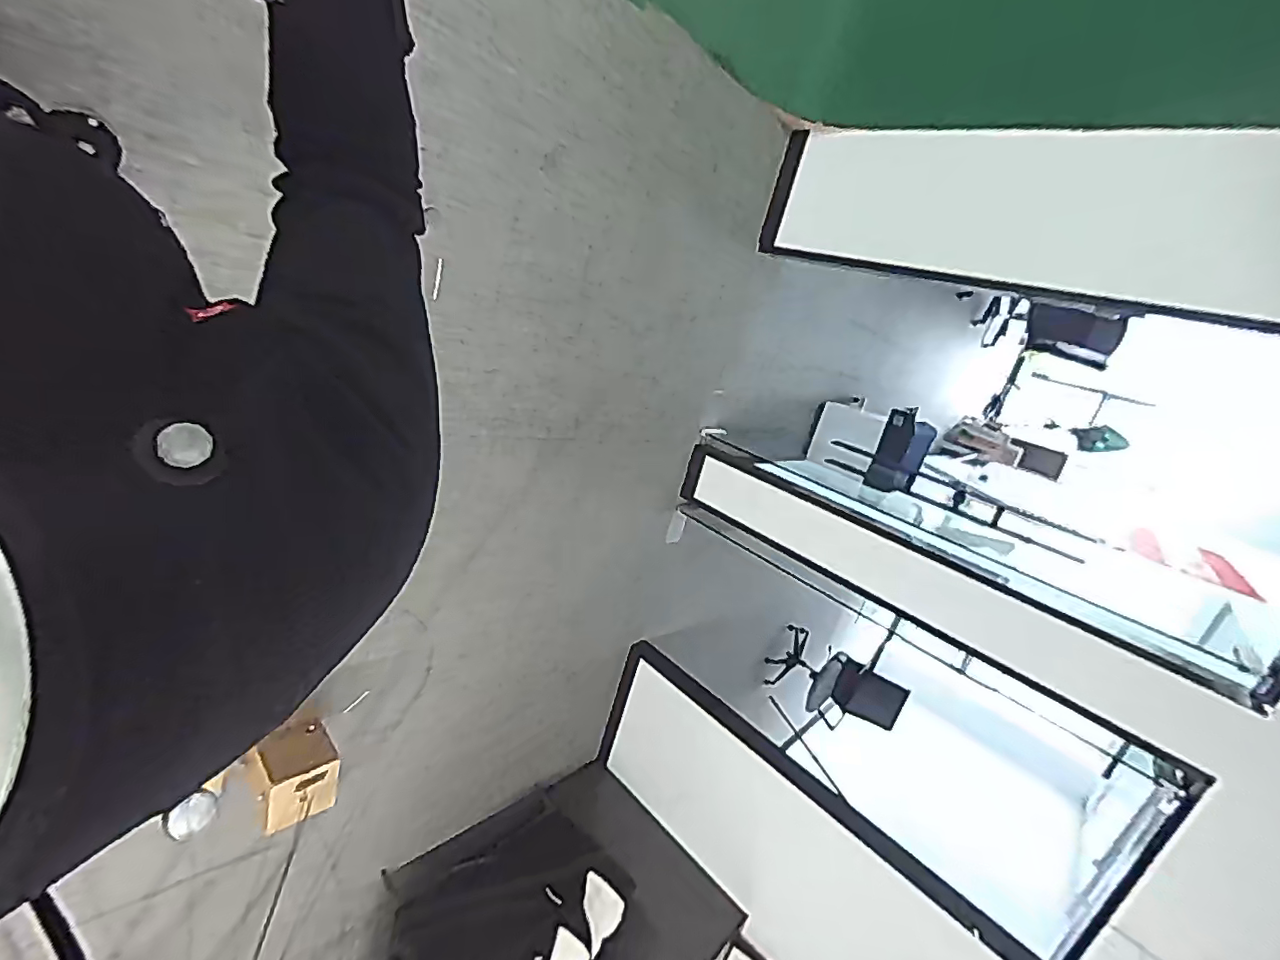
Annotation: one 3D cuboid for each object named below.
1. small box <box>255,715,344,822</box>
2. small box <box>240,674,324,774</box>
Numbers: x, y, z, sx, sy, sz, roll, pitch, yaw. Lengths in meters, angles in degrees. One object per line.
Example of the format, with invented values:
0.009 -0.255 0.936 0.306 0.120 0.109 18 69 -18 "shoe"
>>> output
-0.946 0.783 1.497 0.168 0.176 0.179 -4 117 -48 "small box"
-1.058 0.711 1.593 0.168 0.176 0.179 -3 116 -49 "small box"
